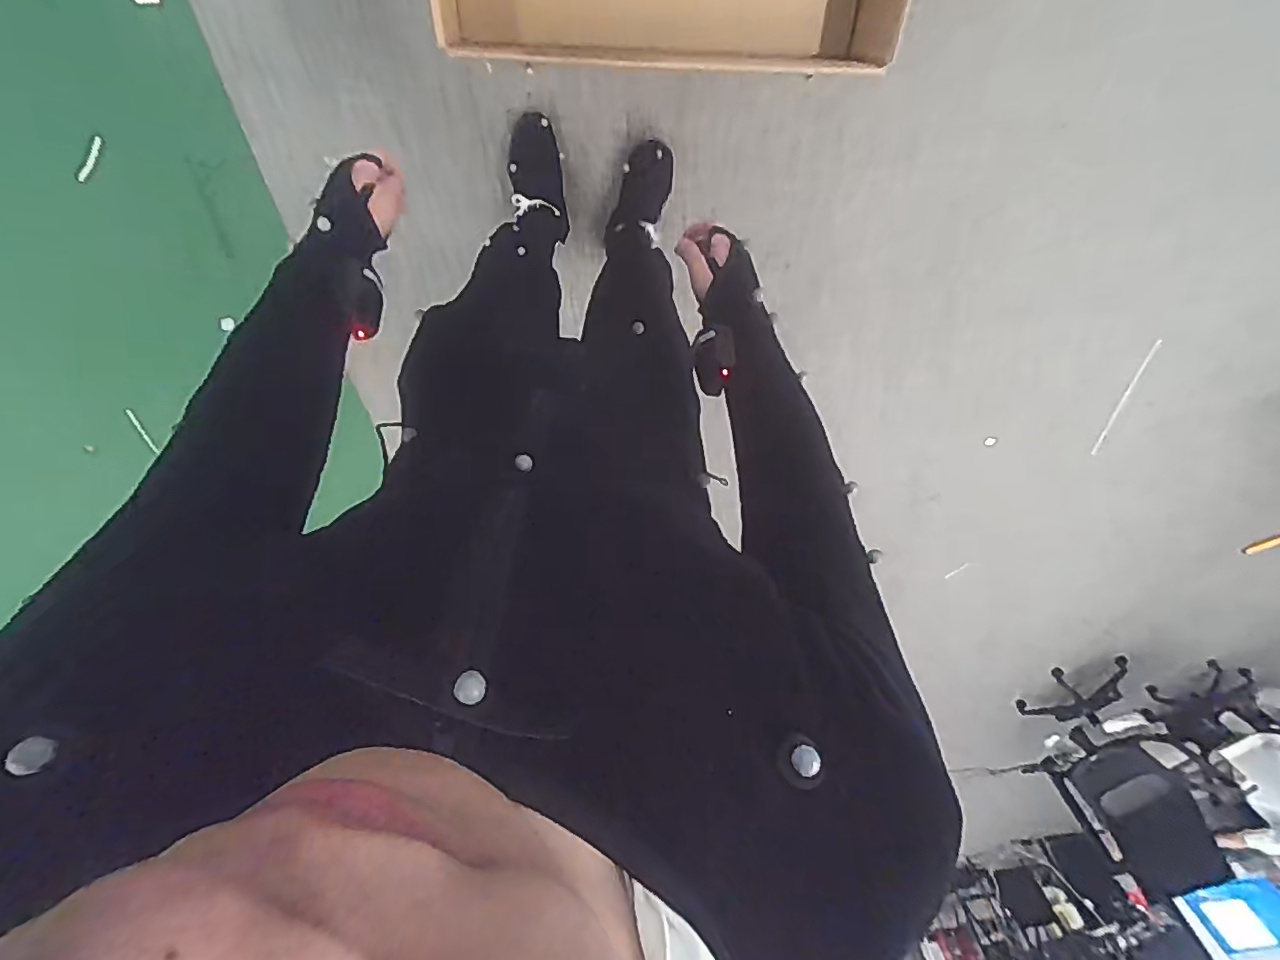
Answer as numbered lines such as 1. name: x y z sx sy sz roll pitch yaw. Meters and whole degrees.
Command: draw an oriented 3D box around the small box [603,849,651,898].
1. small box: -0.052 1.435 2.025 0.168 0.176 0.179 -7 129 -2
